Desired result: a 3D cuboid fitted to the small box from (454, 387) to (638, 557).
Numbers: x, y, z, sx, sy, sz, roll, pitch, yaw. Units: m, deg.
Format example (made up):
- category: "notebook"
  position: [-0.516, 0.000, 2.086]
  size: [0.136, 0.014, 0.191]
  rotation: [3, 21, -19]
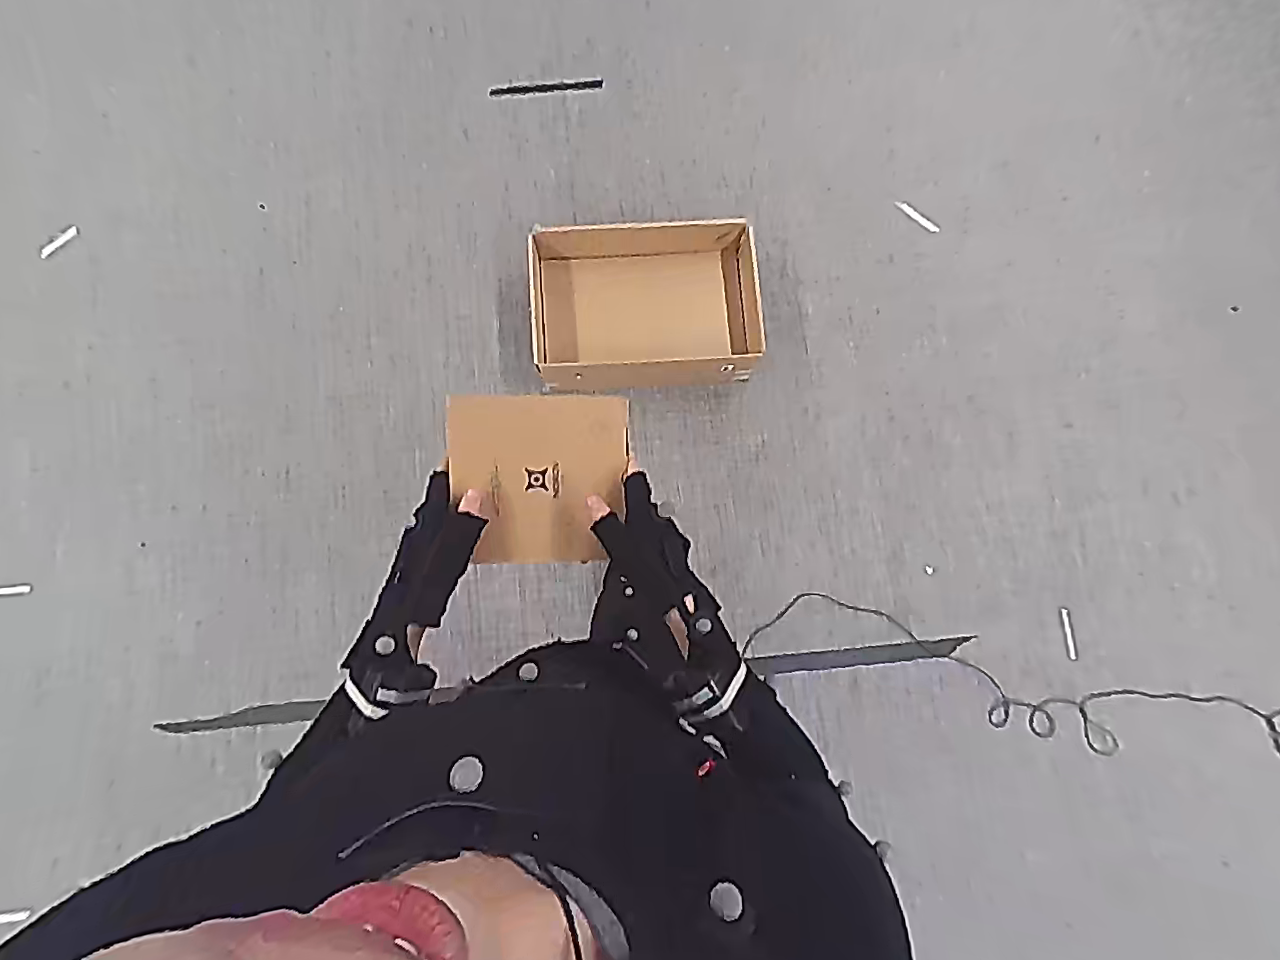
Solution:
- category: "small box"
  position: [-0.100, -0.010, 0.606]
  size: [0.179, 0.176, 0.168]
  rotation: [-2, 90, -6]
